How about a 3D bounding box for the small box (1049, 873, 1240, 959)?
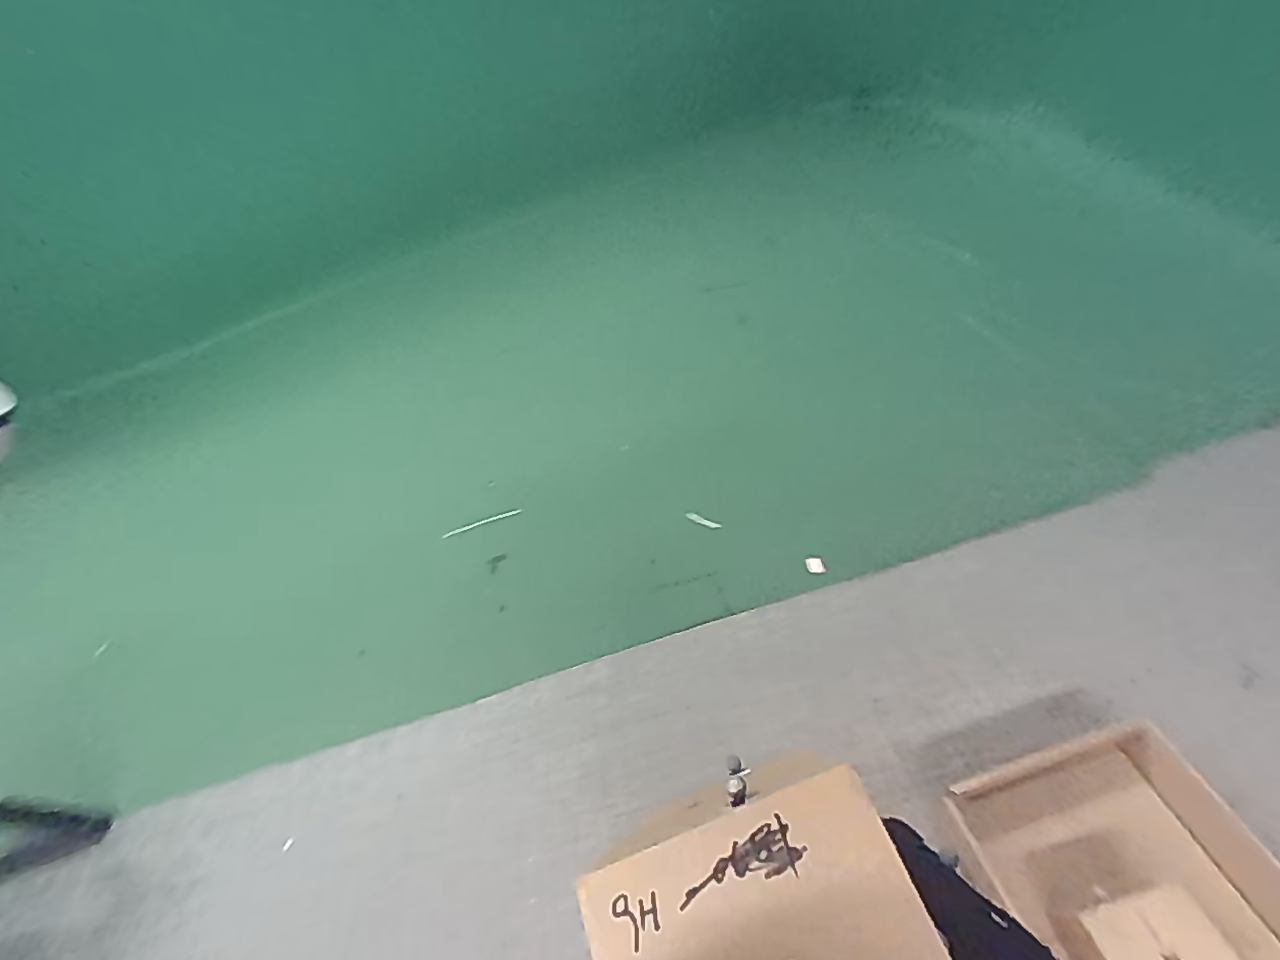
[{"bbox_3d":[0.799,0.748,0.849,0.168,0.176,0.179,-20,47,3],"label":"small box"}]
